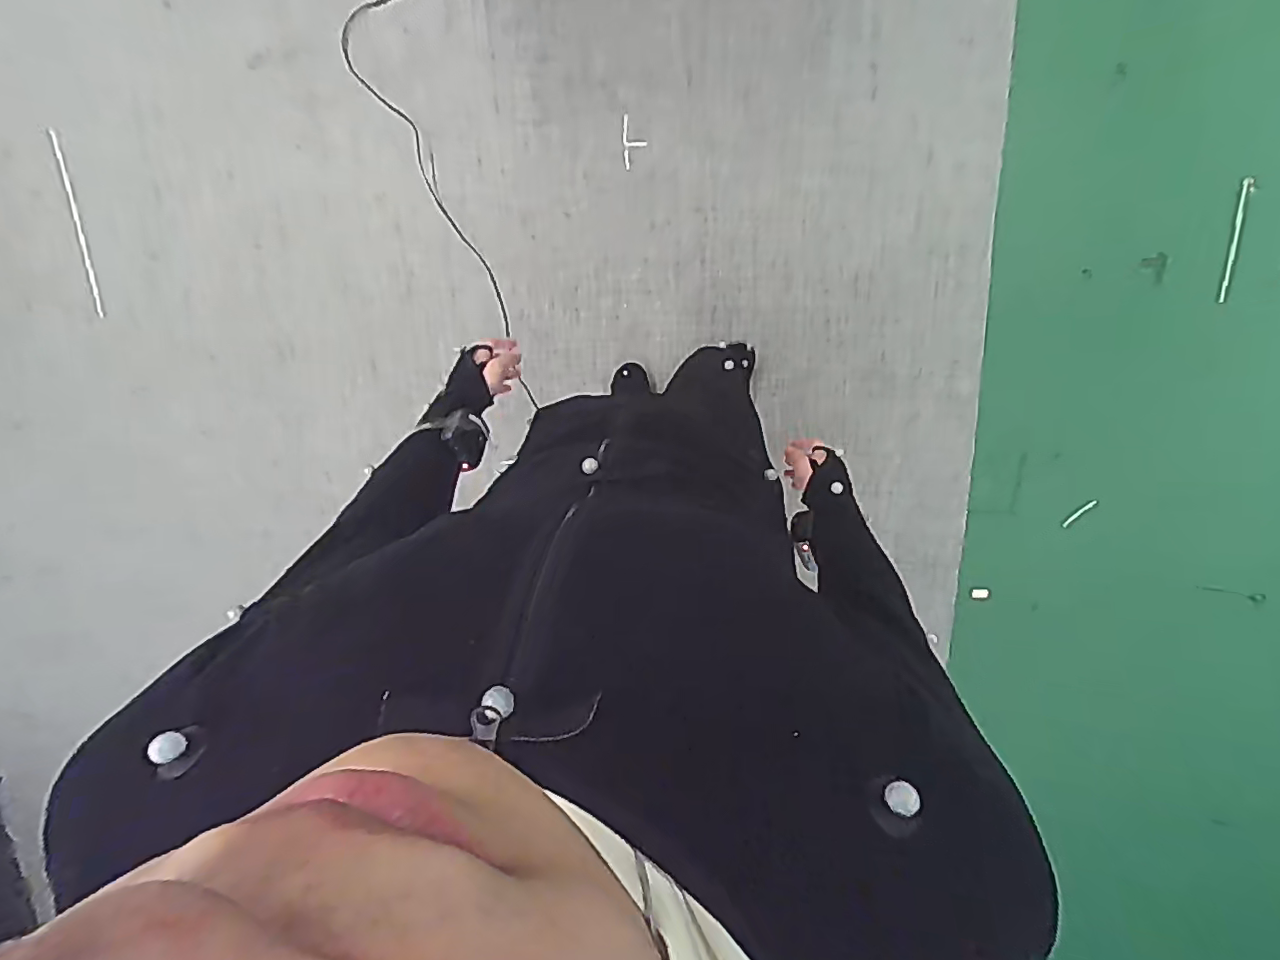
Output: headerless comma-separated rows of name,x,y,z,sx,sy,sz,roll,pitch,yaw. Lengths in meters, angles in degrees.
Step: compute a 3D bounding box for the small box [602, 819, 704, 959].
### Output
small box,0.021,0.732,0.953,0.168,0.176,0.179,-1,104,2
